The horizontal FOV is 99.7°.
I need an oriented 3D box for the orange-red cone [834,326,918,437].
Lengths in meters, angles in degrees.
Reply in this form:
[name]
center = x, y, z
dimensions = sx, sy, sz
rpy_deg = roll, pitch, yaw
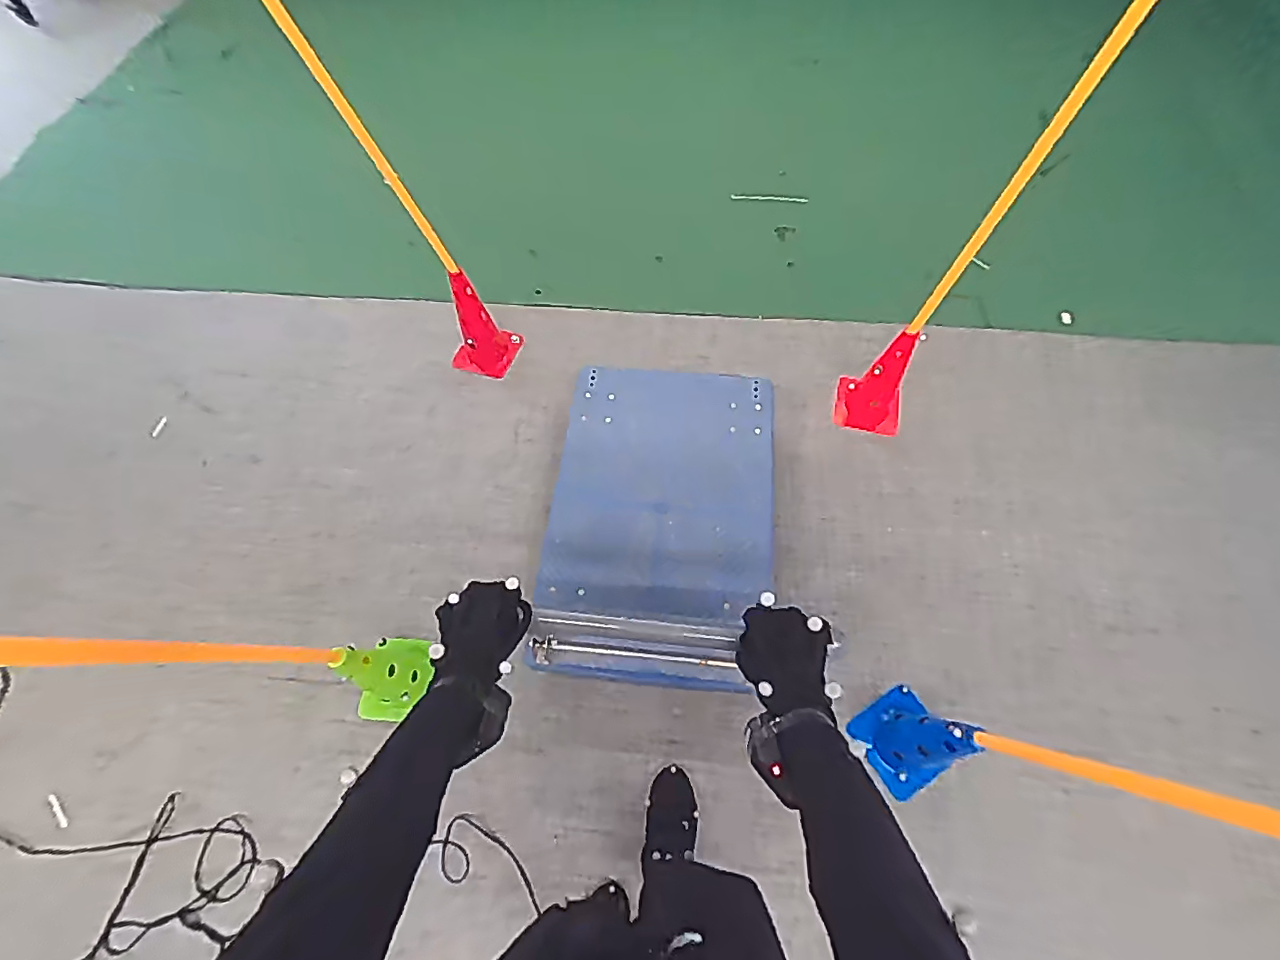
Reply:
[orange-red cone]
center = 0.725, -0.312, 1.585
dimensions = 0.198, 0.360, 0.199
rpy_deg = 14, 65, 10
